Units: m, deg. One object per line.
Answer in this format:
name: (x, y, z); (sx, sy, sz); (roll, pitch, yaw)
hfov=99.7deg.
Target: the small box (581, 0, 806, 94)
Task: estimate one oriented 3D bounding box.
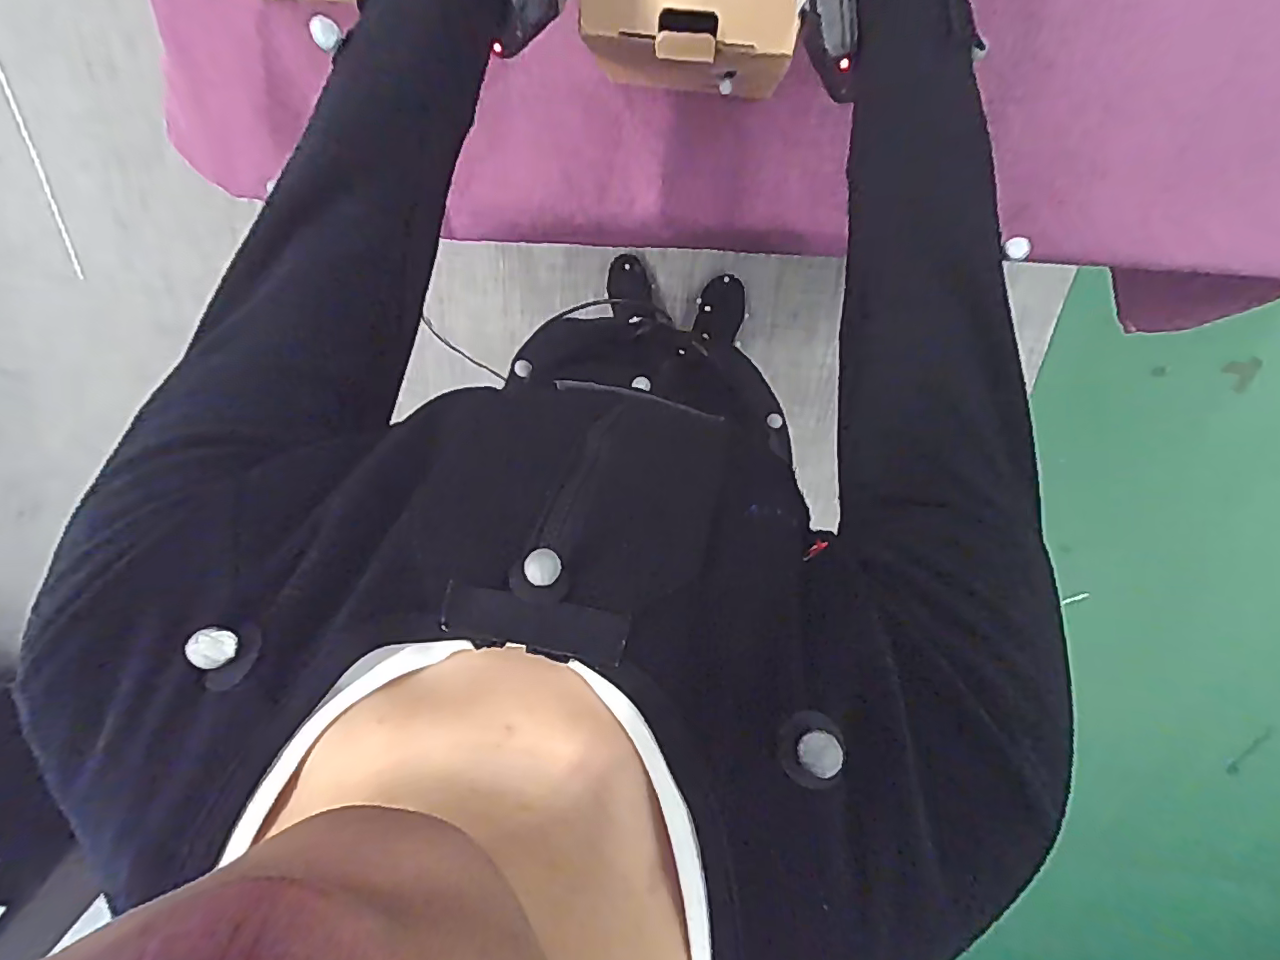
small box: (0.054, -0.434, 0.435); (0.168, 0.176, 0.179); (8, 117, 2)
